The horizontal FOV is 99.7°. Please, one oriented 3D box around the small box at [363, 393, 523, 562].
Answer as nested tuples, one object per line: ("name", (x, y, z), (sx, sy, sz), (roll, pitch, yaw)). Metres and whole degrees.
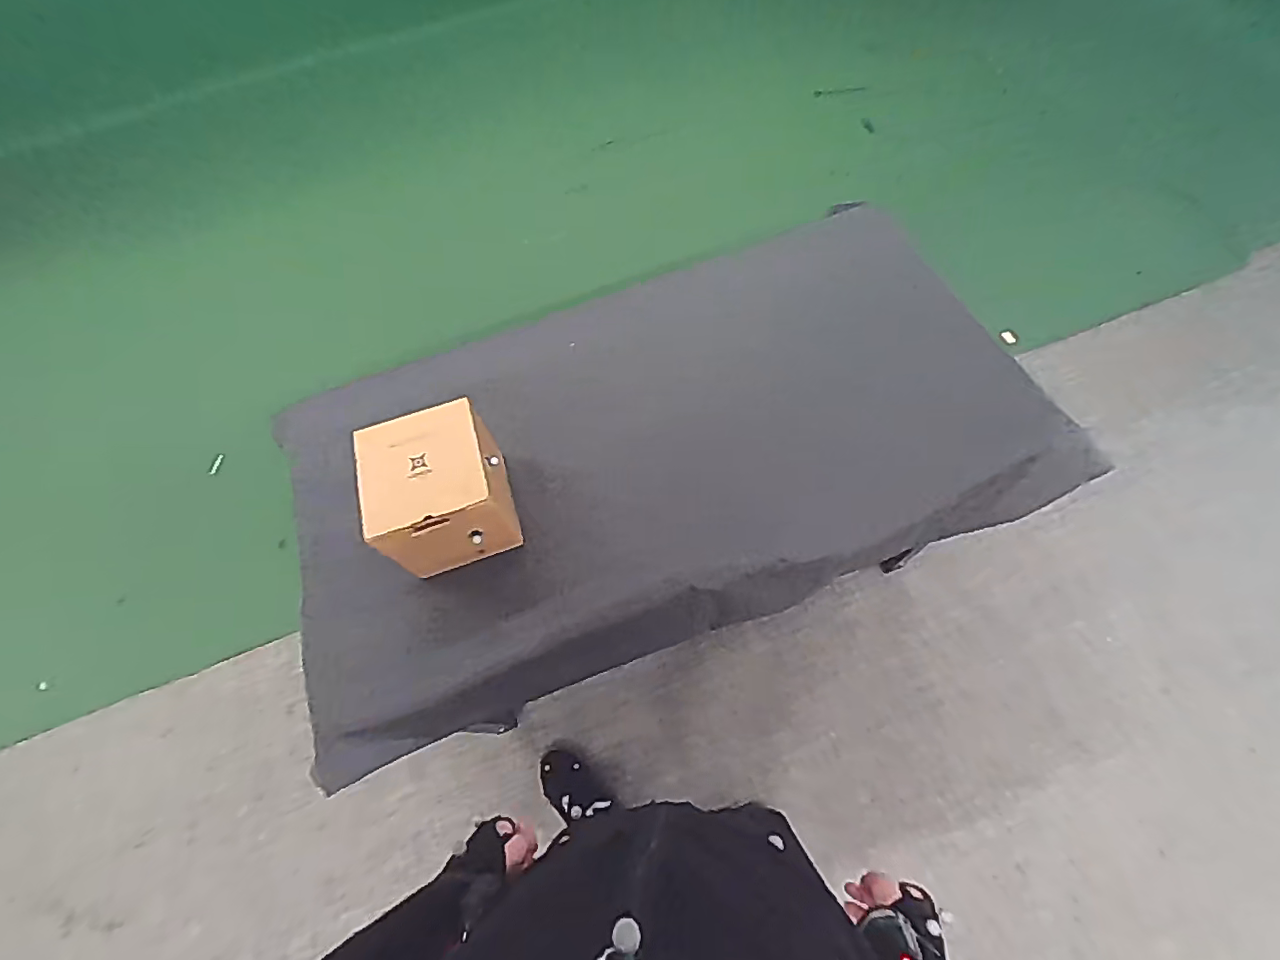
("small box", (-0.284, 0.007, 0.802), (0.168, 0.176, 0.179), (-18, 62, -6))
